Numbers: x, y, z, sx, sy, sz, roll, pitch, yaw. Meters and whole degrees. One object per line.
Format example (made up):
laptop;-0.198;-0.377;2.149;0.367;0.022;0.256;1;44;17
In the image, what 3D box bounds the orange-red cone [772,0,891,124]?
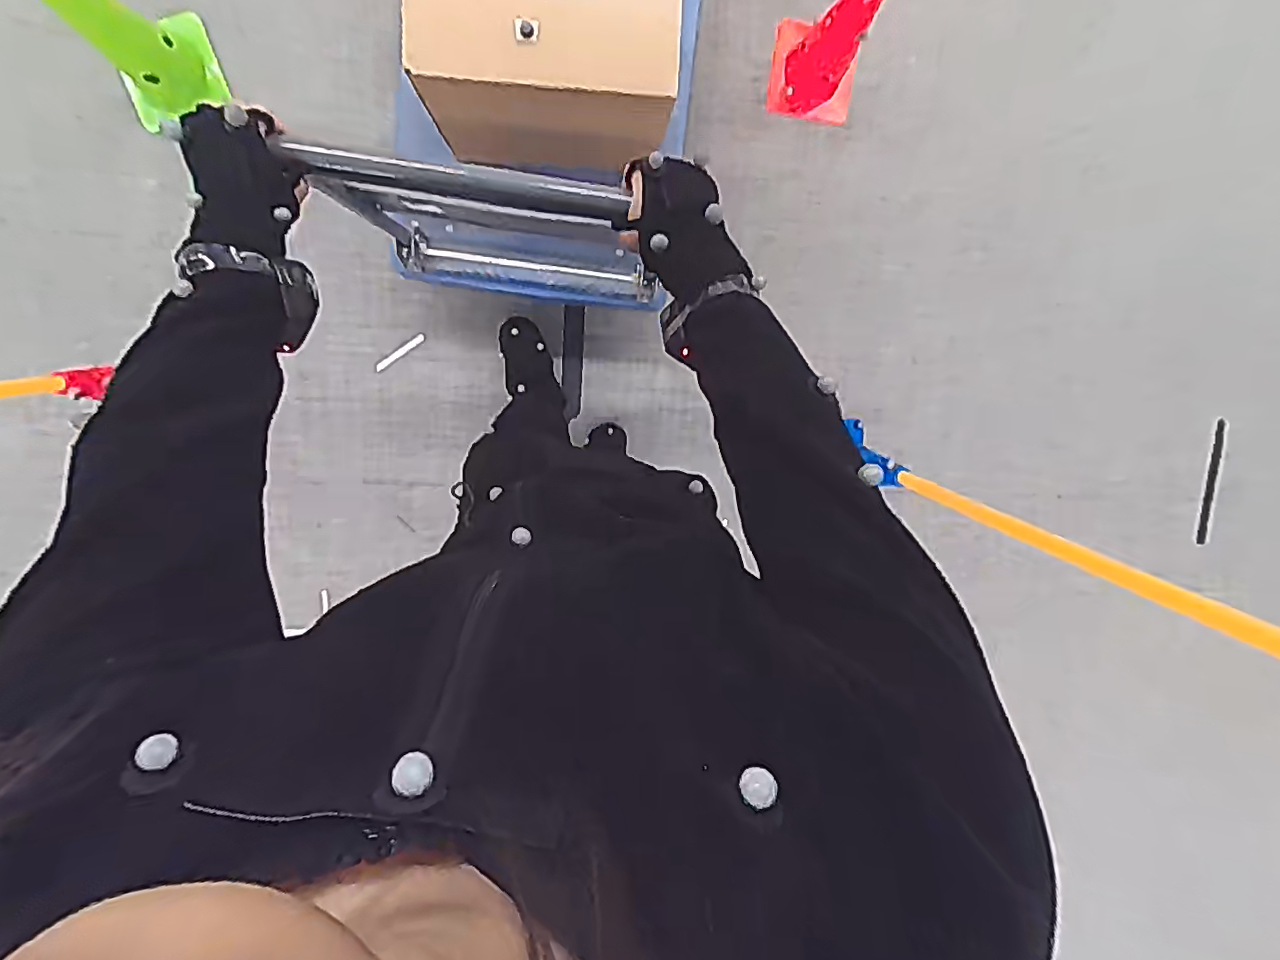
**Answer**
orange-red cone;0.440;-0.939;1.117;0.199;0.360;0.198;8;99;-7
